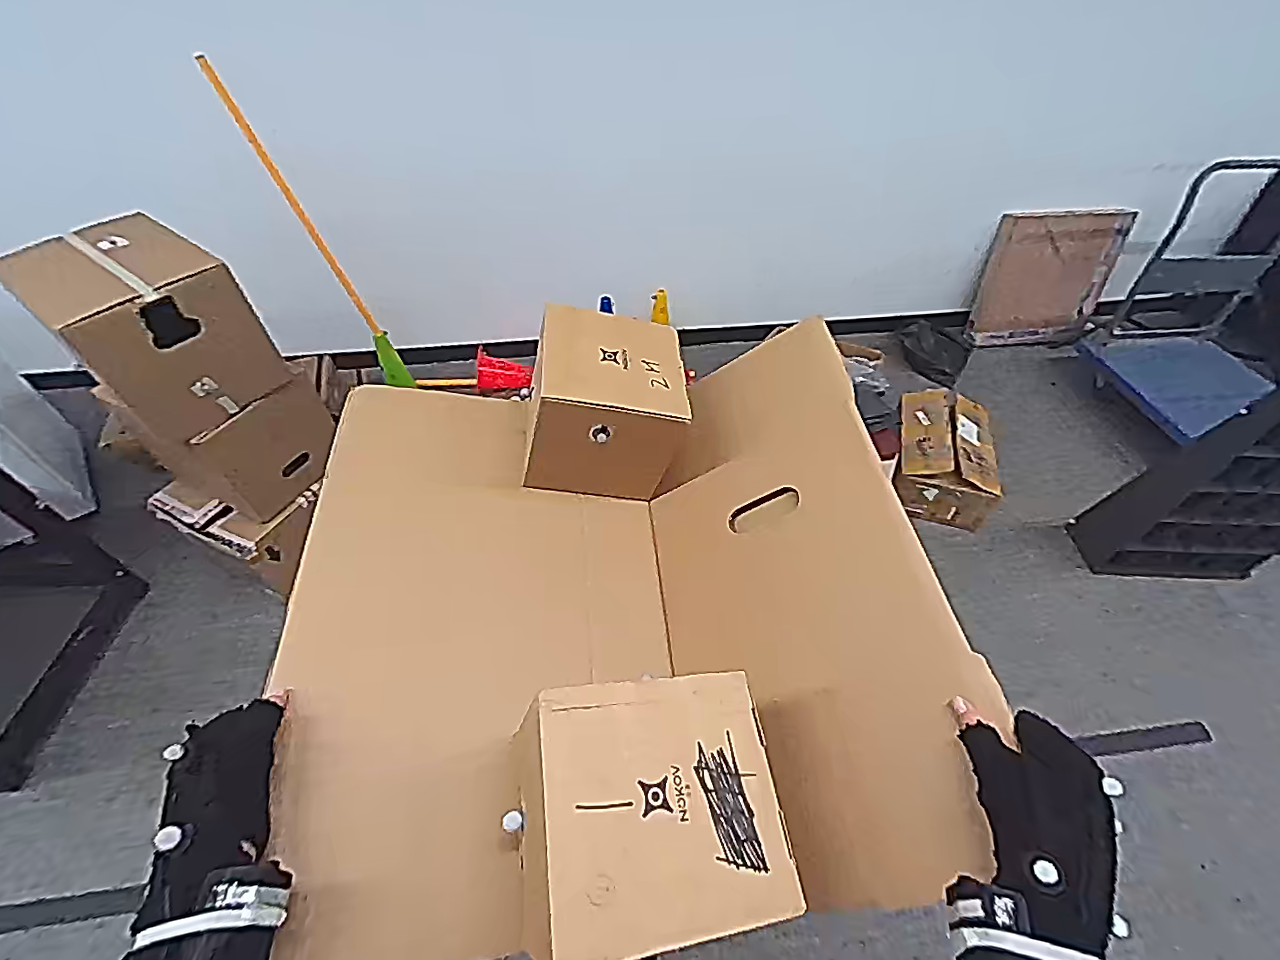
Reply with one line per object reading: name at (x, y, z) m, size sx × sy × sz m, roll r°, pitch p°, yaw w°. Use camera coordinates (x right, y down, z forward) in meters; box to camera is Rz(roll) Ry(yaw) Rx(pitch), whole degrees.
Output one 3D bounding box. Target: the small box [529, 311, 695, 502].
small box at (-0.045, -0.087, 0.704) m, size 0.179 × 0.176 × 0.168 m, roll 9°, pitch 53°, yaw -15°
